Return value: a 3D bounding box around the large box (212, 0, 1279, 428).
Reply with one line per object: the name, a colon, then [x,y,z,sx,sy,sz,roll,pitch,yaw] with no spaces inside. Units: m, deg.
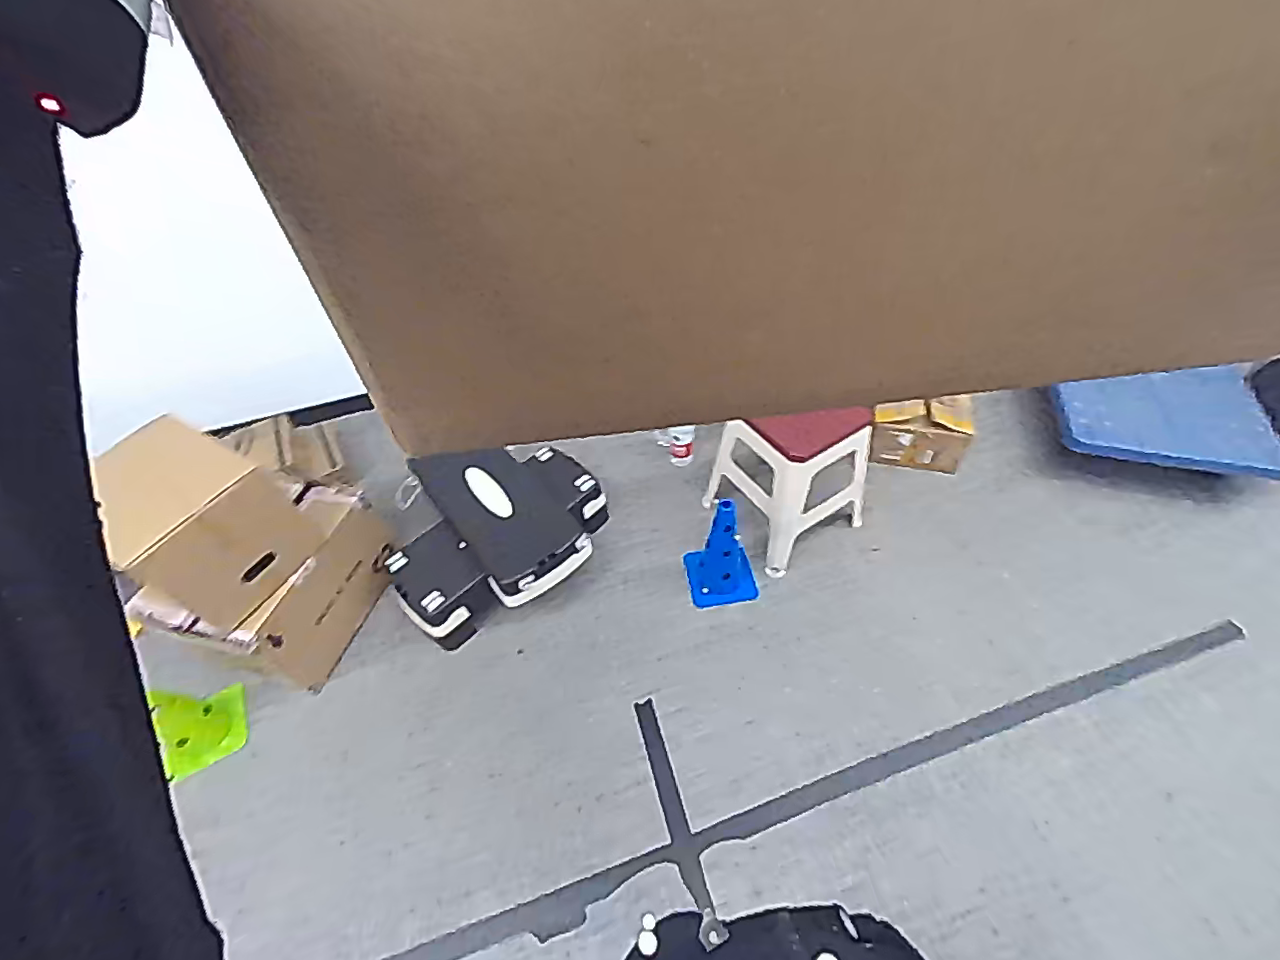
large box: [0.064,-0.250,0.264,0.408,0.320,0.320,-6,42,1]
